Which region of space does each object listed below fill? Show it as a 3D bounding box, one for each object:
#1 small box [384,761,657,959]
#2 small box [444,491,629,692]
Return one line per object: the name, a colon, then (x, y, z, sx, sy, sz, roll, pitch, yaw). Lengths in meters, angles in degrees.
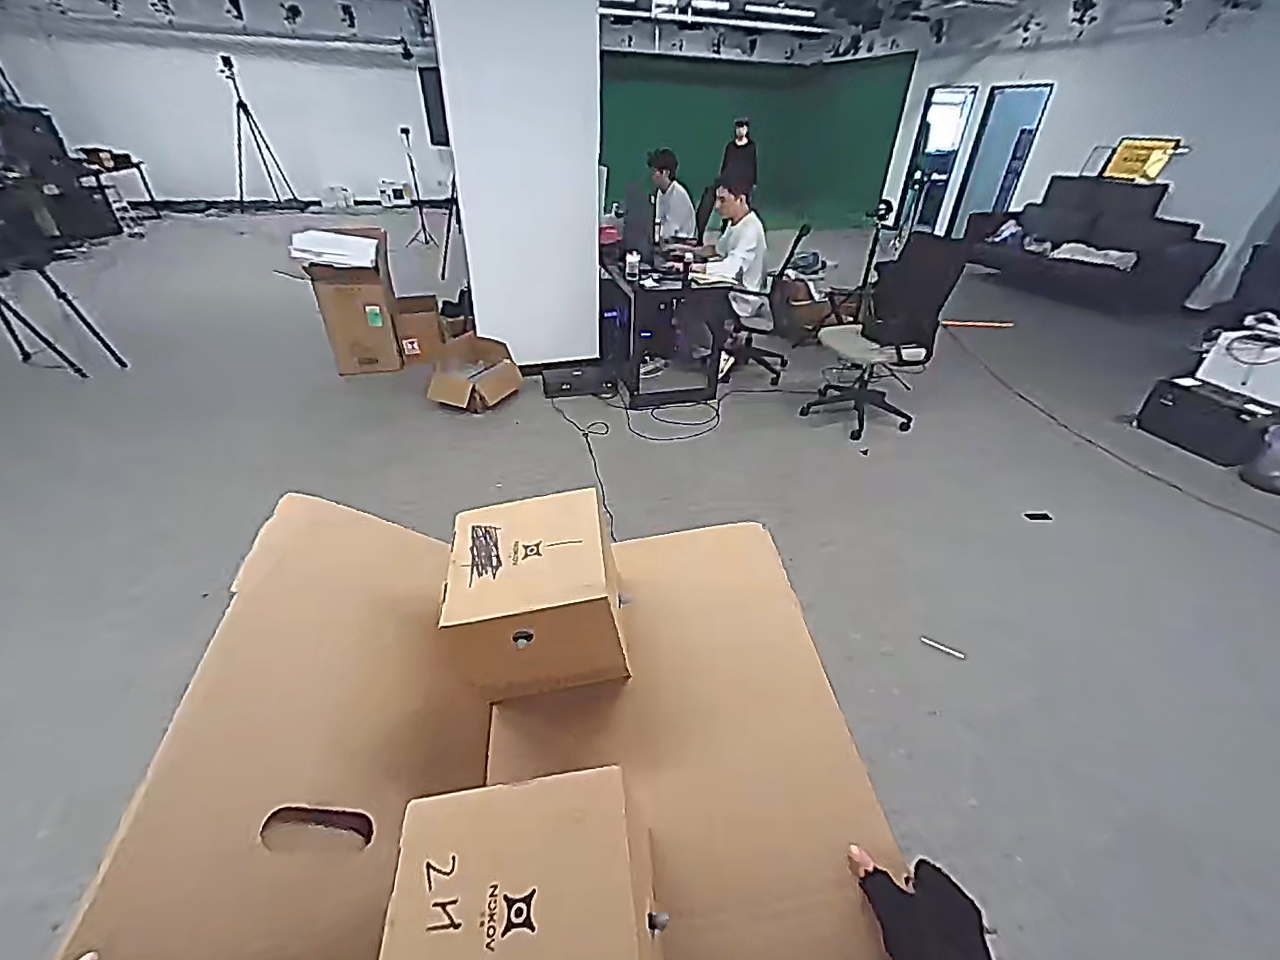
small box: (-0.080, 0.353, 0.437, 0.179, 0.176, 0.168, -10, 43, 1)
small box: (-0.118, 0.141, 0.671, 0.179, 0.176, 0.168, -10, 43, -1)
